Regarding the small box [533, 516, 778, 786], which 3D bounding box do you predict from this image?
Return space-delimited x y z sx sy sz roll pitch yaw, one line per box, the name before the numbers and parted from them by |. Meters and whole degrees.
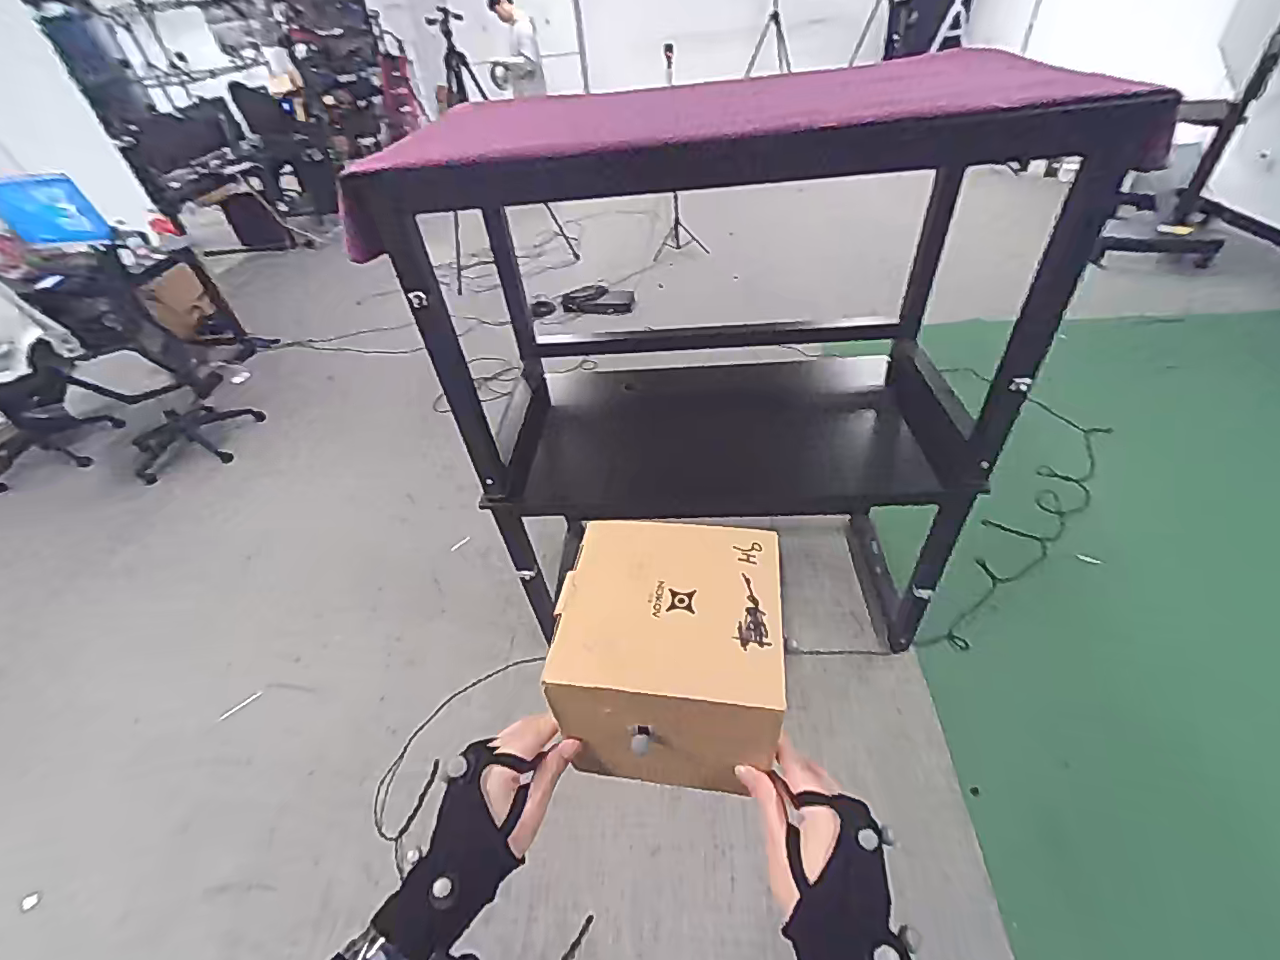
small box | 0.028 0.150 0.482 0.179 0.176 0.168 1 42 10
